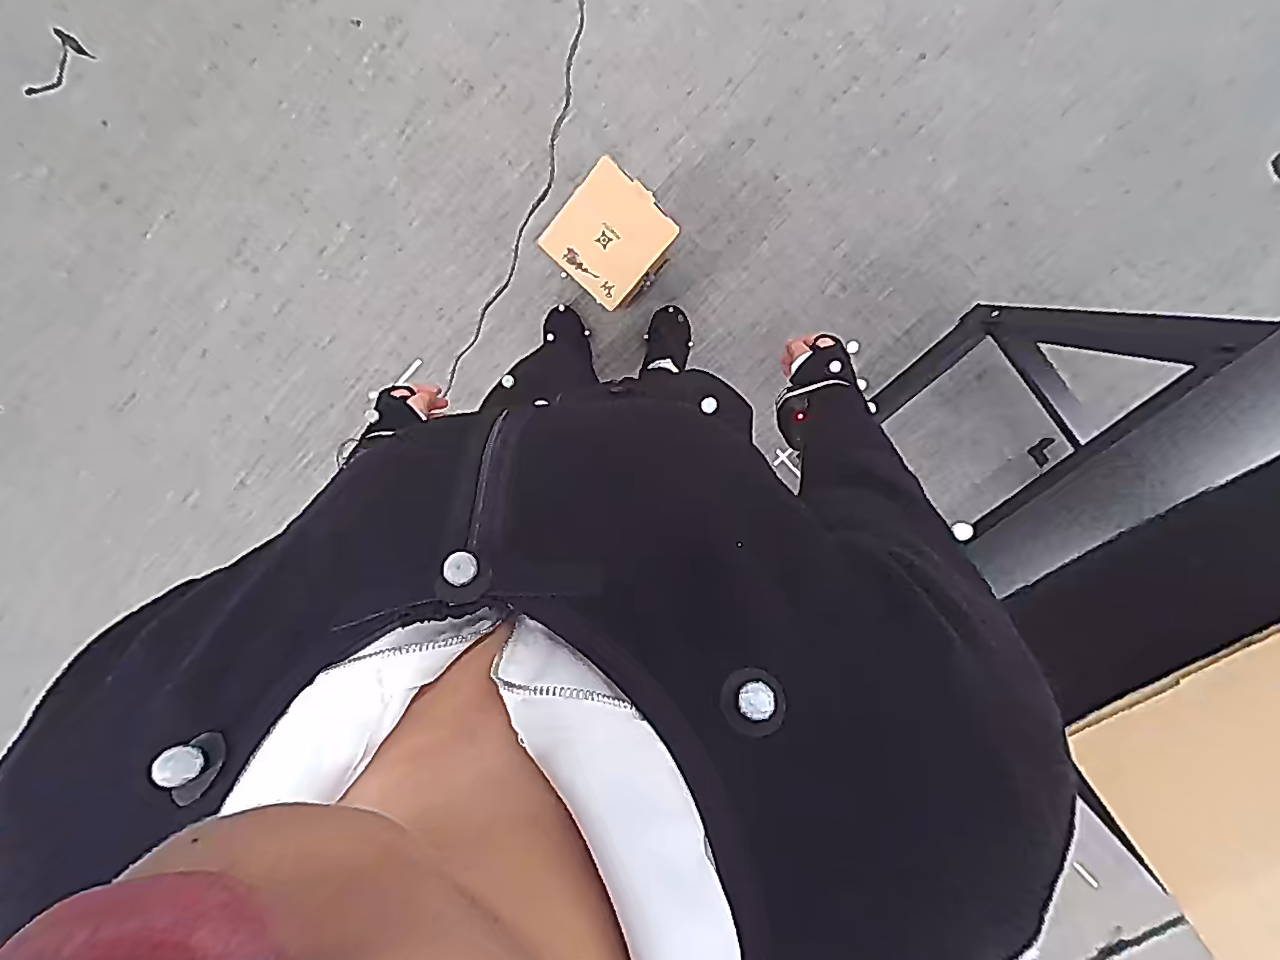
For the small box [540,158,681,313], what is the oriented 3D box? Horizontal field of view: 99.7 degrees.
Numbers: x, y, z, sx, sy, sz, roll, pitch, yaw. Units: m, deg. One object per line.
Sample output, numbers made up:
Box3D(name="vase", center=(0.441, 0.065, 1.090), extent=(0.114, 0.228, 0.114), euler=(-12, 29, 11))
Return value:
Box3D(name="small box", center=(-0.049, -0.419, 0.955), extent=(0.168, 0.176, 0.179), euler=(42, 104, -11))
